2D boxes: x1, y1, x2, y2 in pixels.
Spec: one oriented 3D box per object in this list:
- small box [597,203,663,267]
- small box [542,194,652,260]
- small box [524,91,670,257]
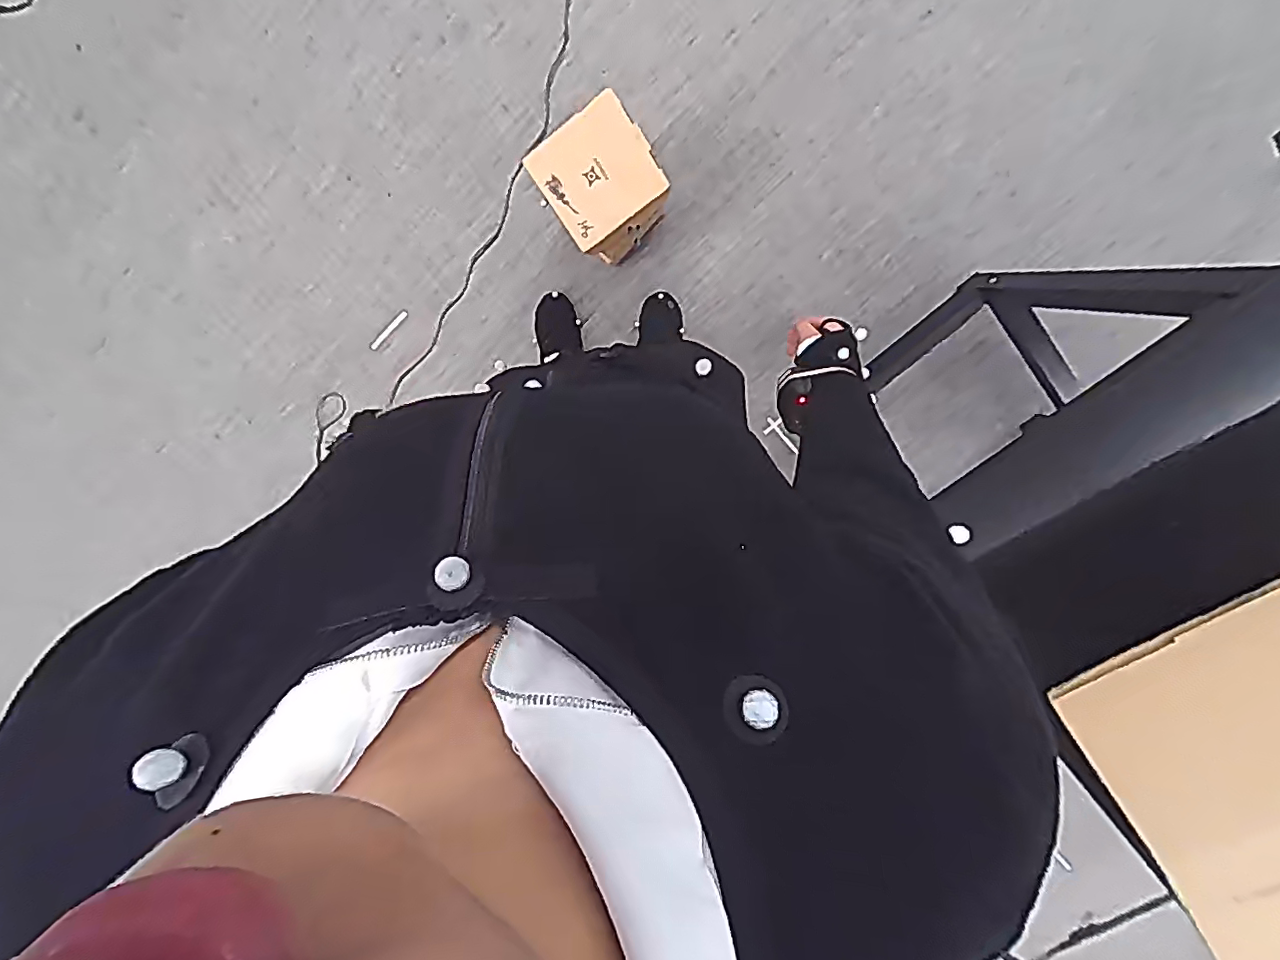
[{"bbox_3d":[-0.065,-0.610,1.230,0.168,0.176,0.179,43,106,-13],"label":"small box"},{"bbox_3d":[-0.066,-0.561,1.075,0.168,0.176,0.179,40,105,-13],"label":"small box"},{"bbox_3d":[-0.068,-0.505,0.921,0.179,0.176,0.168,-33,106,11],"label":"small box"}]
